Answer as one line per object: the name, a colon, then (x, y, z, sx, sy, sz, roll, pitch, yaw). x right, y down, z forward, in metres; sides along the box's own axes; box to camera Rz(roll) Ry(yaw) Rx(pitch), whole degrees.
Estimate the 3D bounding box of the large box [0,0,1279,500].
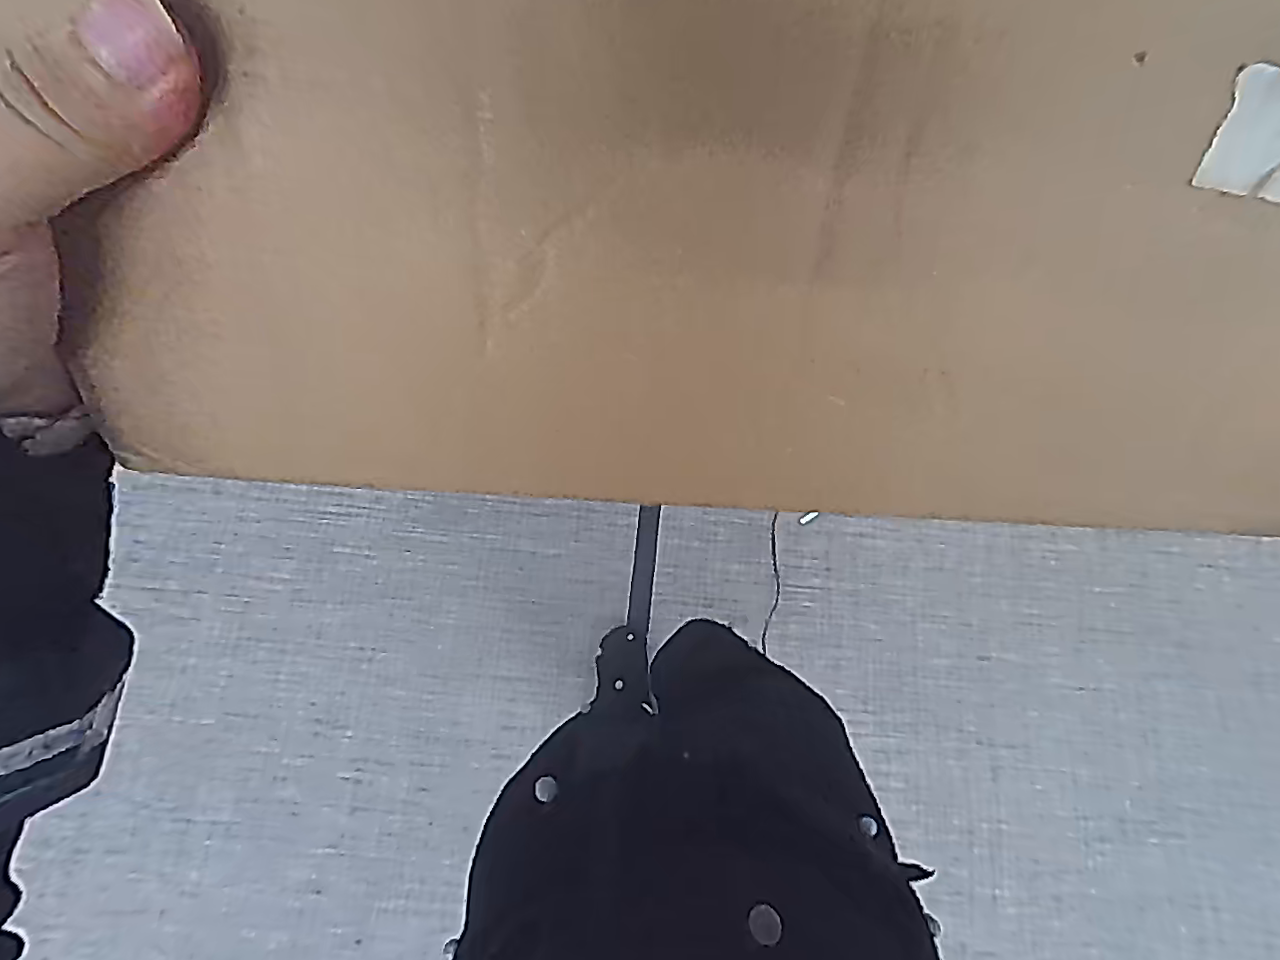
large box: (0.070, -0.203, 0.223, 0.408, 0.320, 0.320, 2, 31, -6)
